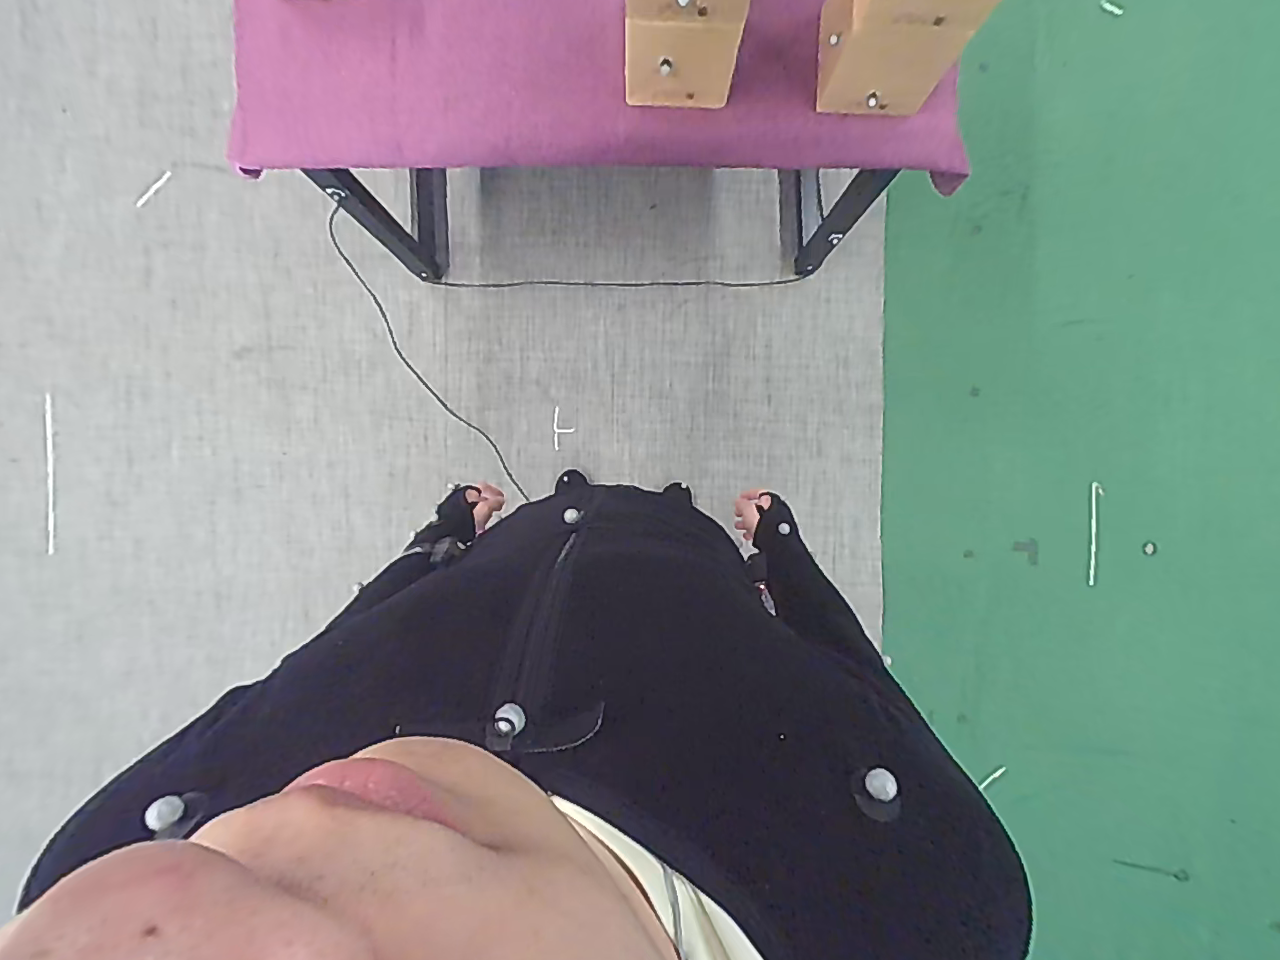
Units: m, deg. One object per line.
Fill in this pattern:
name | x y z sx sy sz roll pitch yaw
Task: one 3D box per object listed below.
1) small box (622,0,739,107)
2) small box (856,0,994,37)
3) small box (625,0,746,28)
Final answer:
small box | 0.061 -0.713 0.831 0.168 0.176 0.179 2 89 0
small box | 0.381 -0.705 0.666 0.168 0.176 0.179 3 89 1
small box | 0.064 -0.717 0.667 0.168 0.176 0.179 2 90 0
